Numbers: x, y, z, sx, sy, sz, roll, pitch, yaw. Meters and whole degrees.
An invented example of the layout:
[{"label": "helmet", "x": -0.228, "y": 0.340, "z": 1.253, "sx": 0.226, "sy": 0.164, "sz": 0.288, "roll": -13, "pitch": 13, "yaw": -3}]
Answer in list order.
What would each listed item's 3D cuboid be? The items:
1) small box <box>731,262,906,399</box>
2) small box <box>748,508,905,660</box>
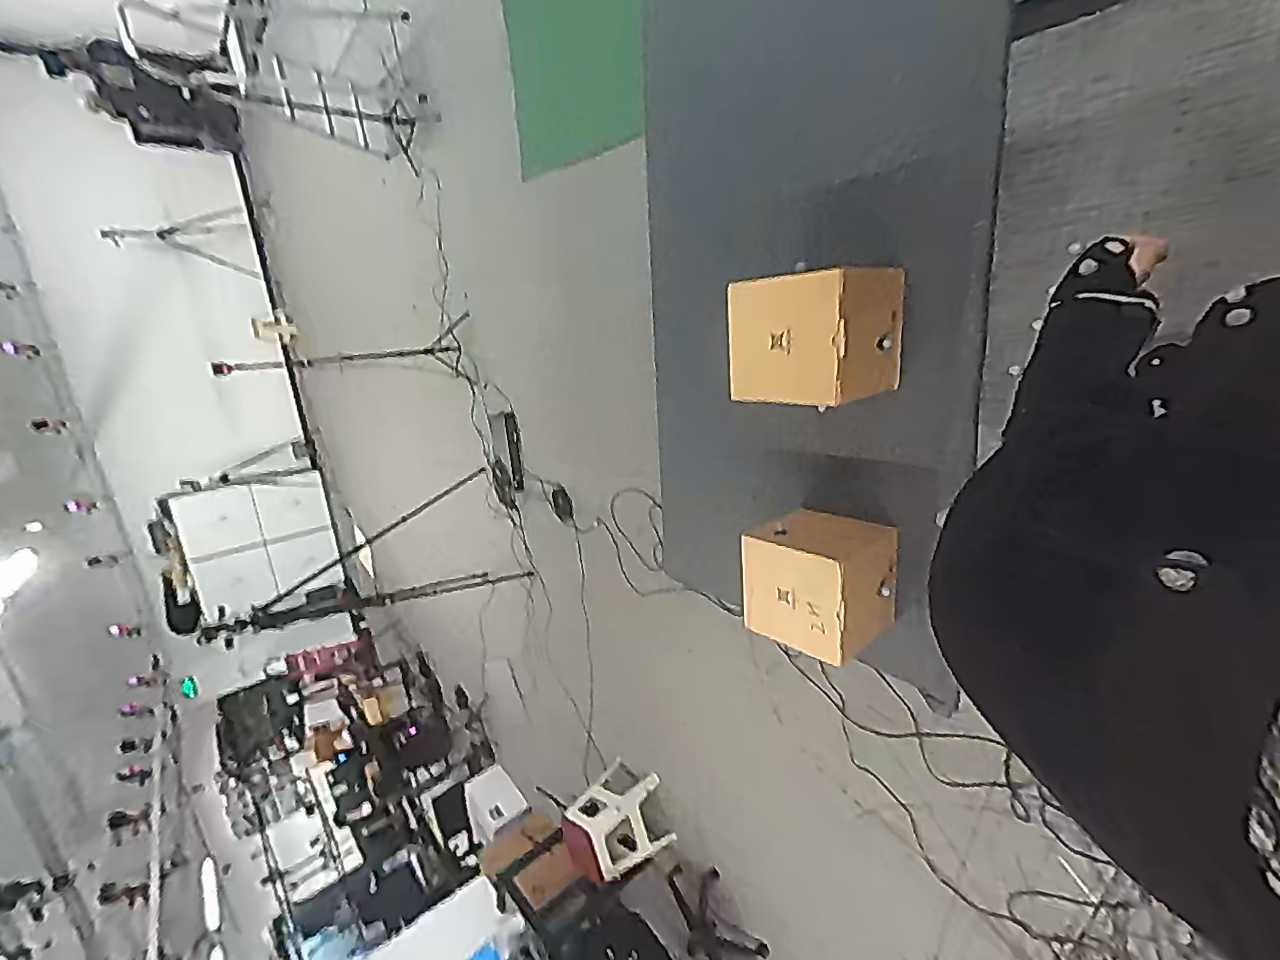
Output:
[{"label": "small box", "x": 0.252, "y": -0.211, "z": 0.772, "sx": 0.179, "sy": 0.176, "sz": 0.168, "roll": 12, "pitch": 113, "yaw": 47}, {"label": "small box", "x": 0.294, "y": 0.151, "z": 0.860, "sx": 0.179, "sy": 0.176, "sz": 0.168, "roll": 11, "pitch": 113, "yaw": 48}]
